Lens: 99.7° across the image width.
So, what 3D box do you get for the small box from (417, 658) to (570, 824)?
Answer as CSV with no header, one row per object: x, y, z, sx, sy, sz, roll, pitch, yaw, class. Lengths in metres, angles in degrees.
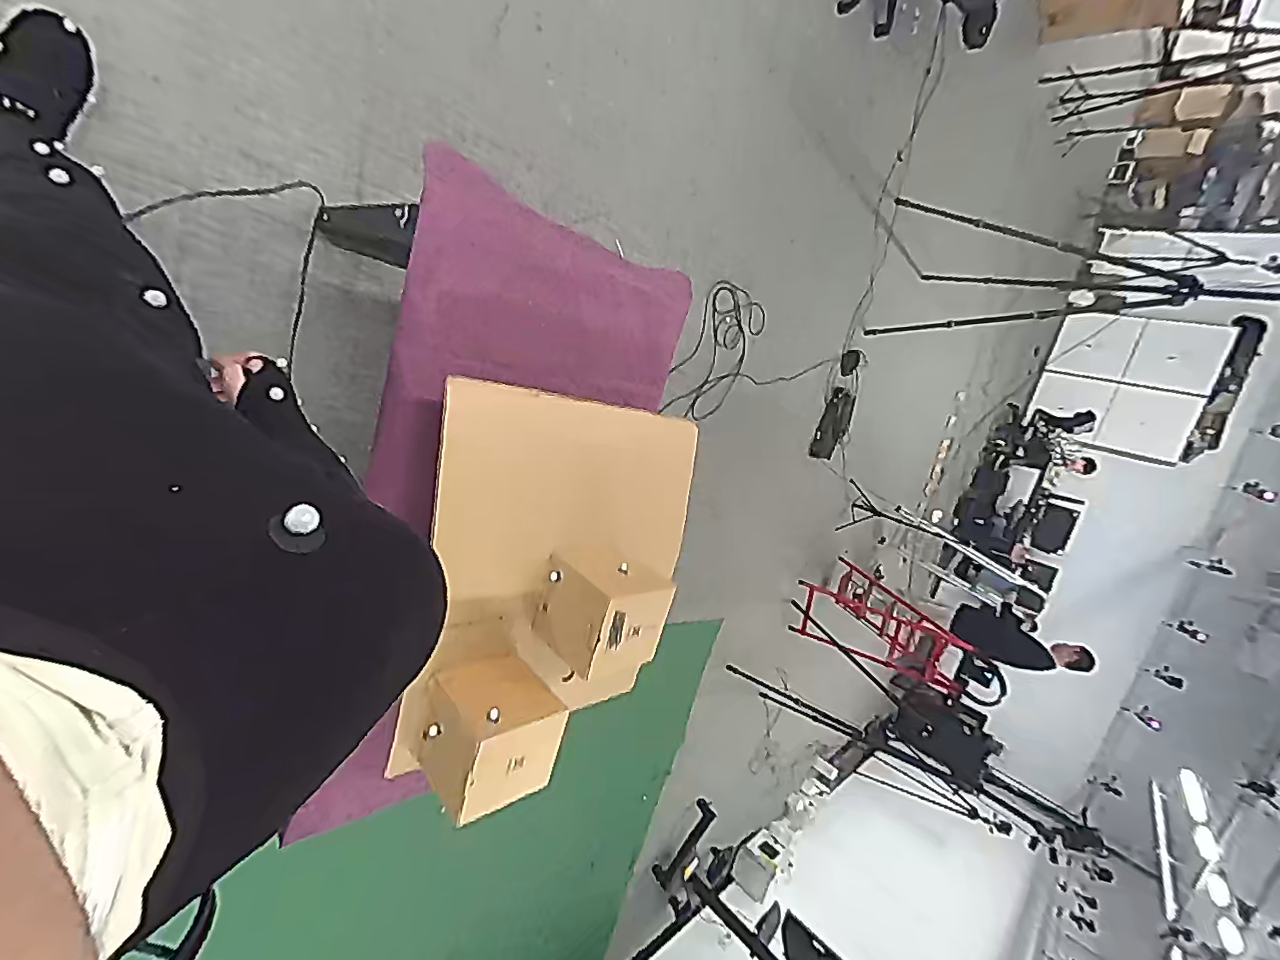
-0.254,0.432,0.933,0.179,0.176,0.168,2,109,-47,small box

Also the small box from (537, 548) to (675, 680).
-0.069,0.240,1.019,0.179,0.176,0.168,1,110,-48,small box
